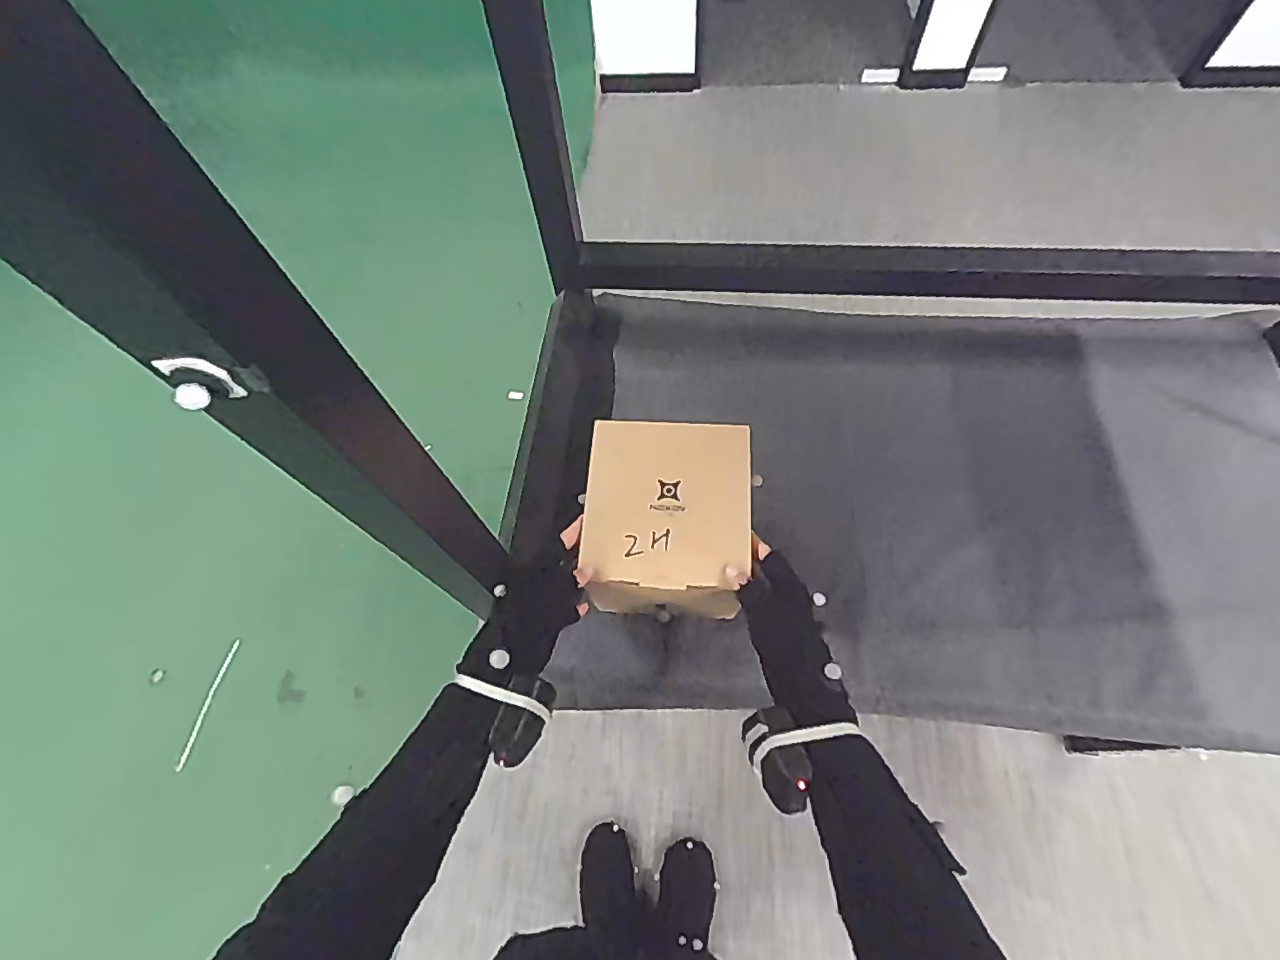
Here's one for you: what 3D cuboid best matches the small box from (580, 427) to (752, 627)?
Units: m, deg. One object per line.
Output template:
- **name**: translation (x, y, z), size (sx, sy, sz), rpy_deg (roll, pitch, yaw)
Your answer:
- **small box**: translation (0.034, 0.059, 0.615), size (0.168, 0.176, 0.179), rpy_deg (2, 66, 5)
